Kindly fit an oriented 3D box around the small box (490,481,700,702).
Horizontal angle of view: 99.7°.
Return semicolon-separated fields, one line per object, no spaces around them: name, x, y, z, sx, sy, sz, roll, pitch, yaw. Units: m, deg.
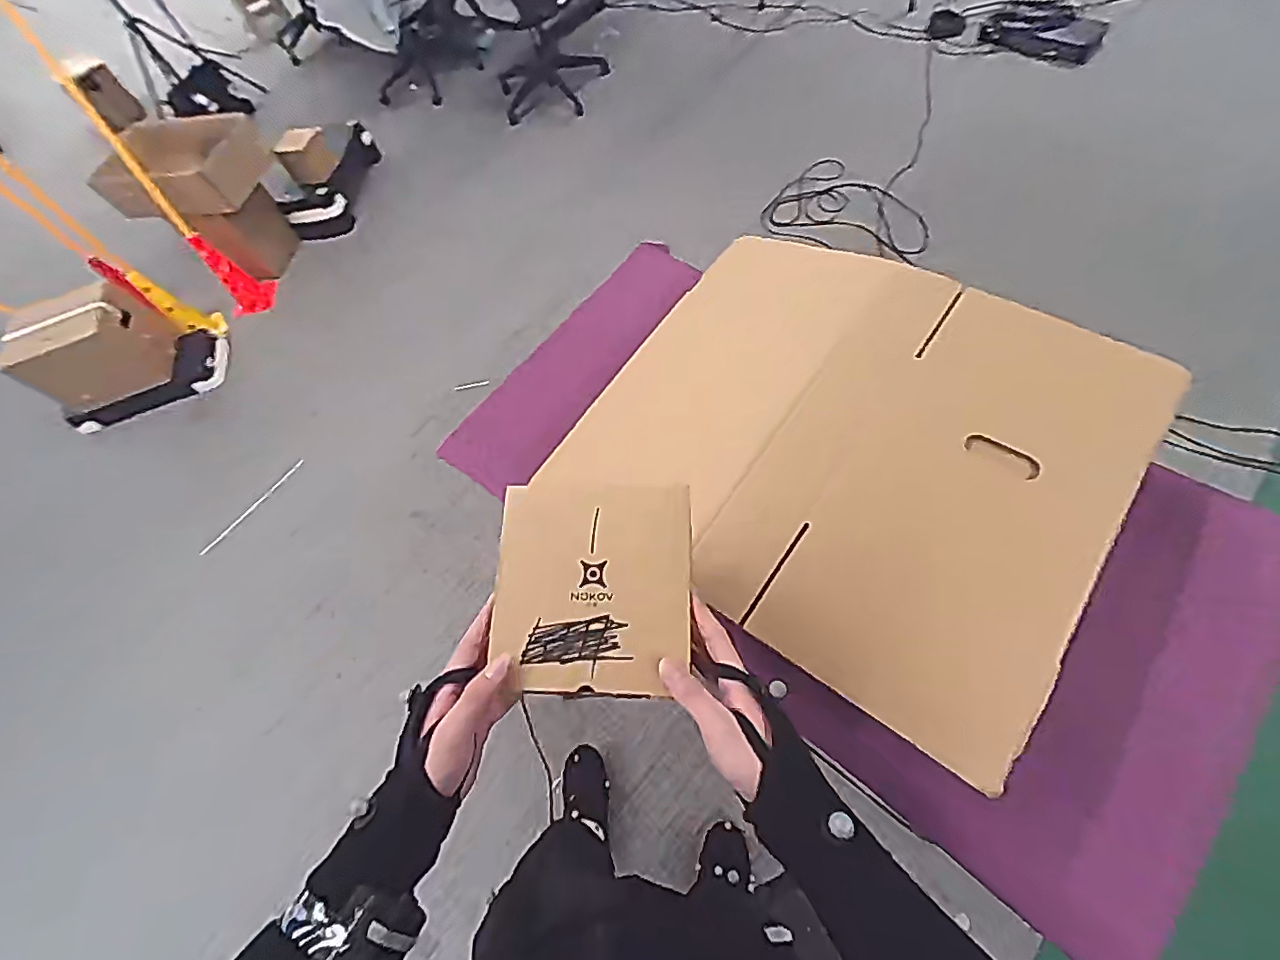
small box;-0.027;0.110;0.520;0.168;0.176;0.179;1;71;6
